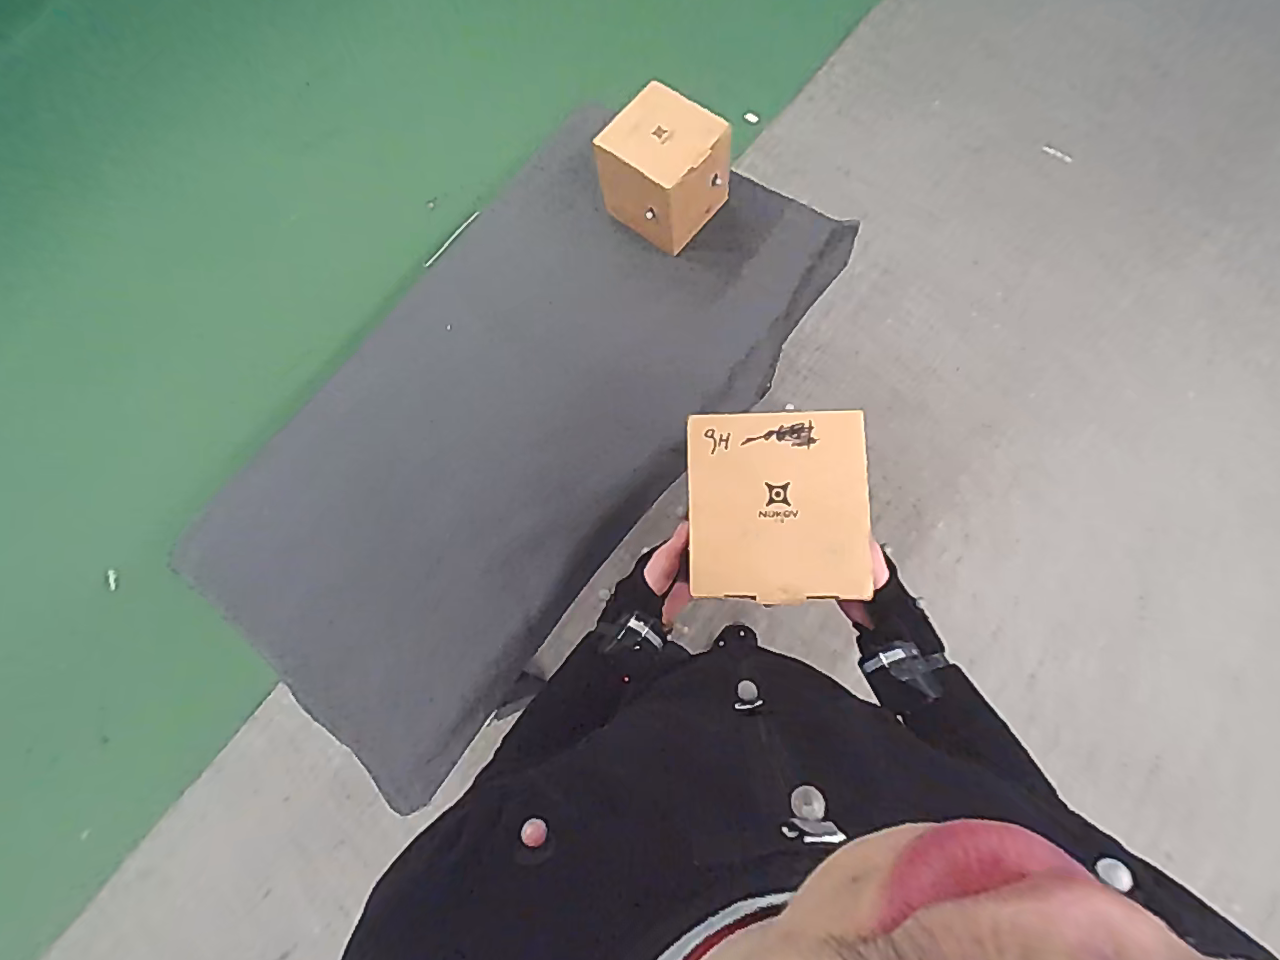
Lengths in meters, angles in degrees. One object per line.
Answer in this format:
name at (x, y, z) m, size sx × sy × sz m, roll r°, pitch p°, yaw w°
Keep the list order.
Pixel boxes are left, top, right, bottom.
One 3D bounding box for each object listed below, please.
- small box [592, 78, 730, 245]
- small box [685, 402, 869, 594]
small box at (0.043, -0.562, 0.979) m, size 0.179 × 0.176 × 0.168 m, roll 39°, pitch 81°, yaw 15°
small box at (0.132, 0.022, 0.572) m, size 0.168 × 0.176 × 0.179 m, roll 0°, pitch 84°, yaw 5°
